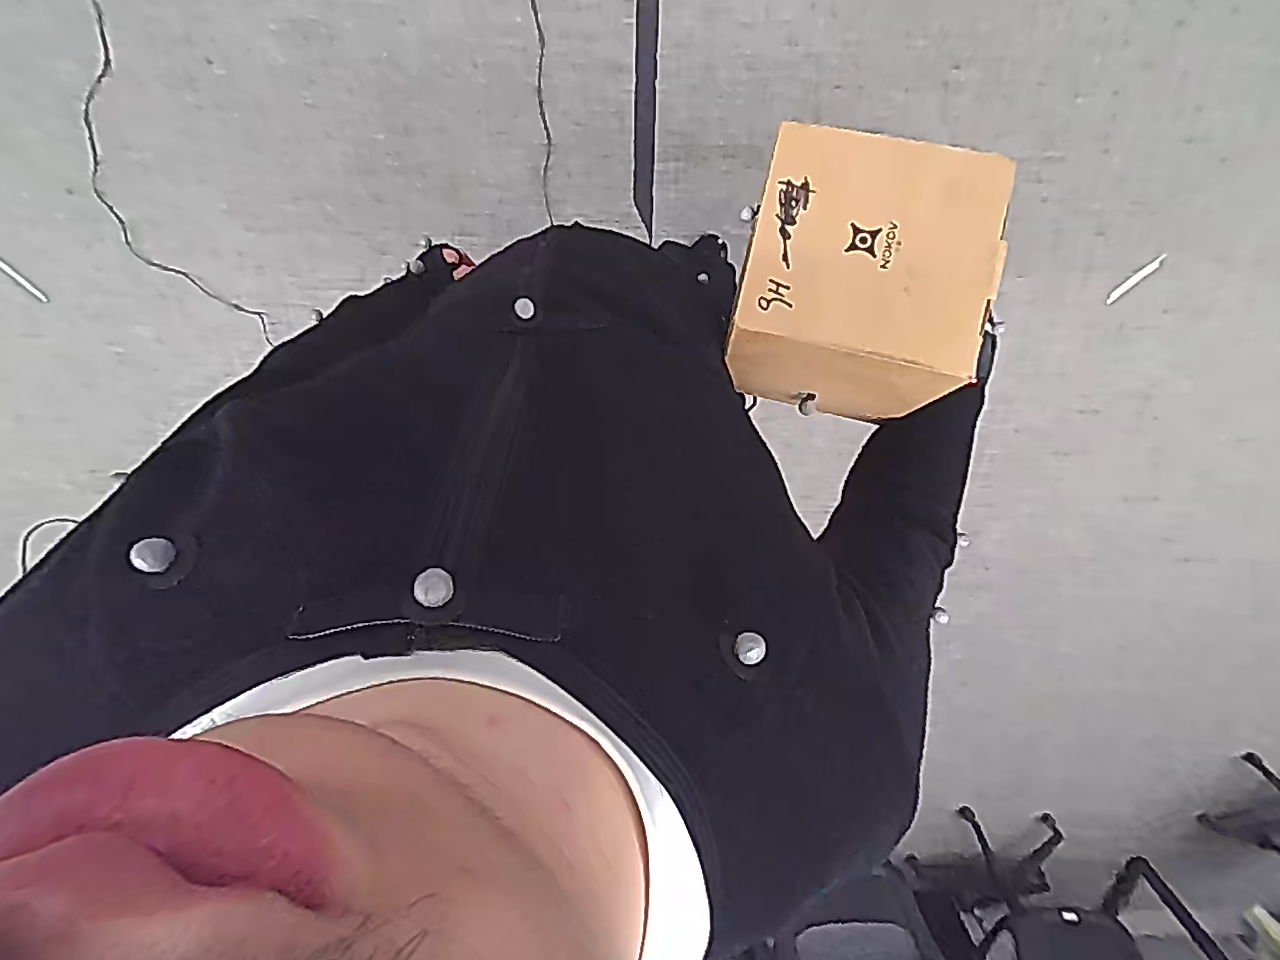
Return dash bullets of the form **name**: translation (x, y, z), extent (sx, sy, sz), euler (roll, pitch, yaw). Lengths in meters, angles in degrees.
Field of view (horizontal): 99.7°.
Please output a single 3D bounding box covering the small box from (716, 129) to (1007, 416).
- **small box**: translation (0.178, -0.166, 0.487), extent (0.179, 0.176, 0.168), euler (15, 84, 4)
